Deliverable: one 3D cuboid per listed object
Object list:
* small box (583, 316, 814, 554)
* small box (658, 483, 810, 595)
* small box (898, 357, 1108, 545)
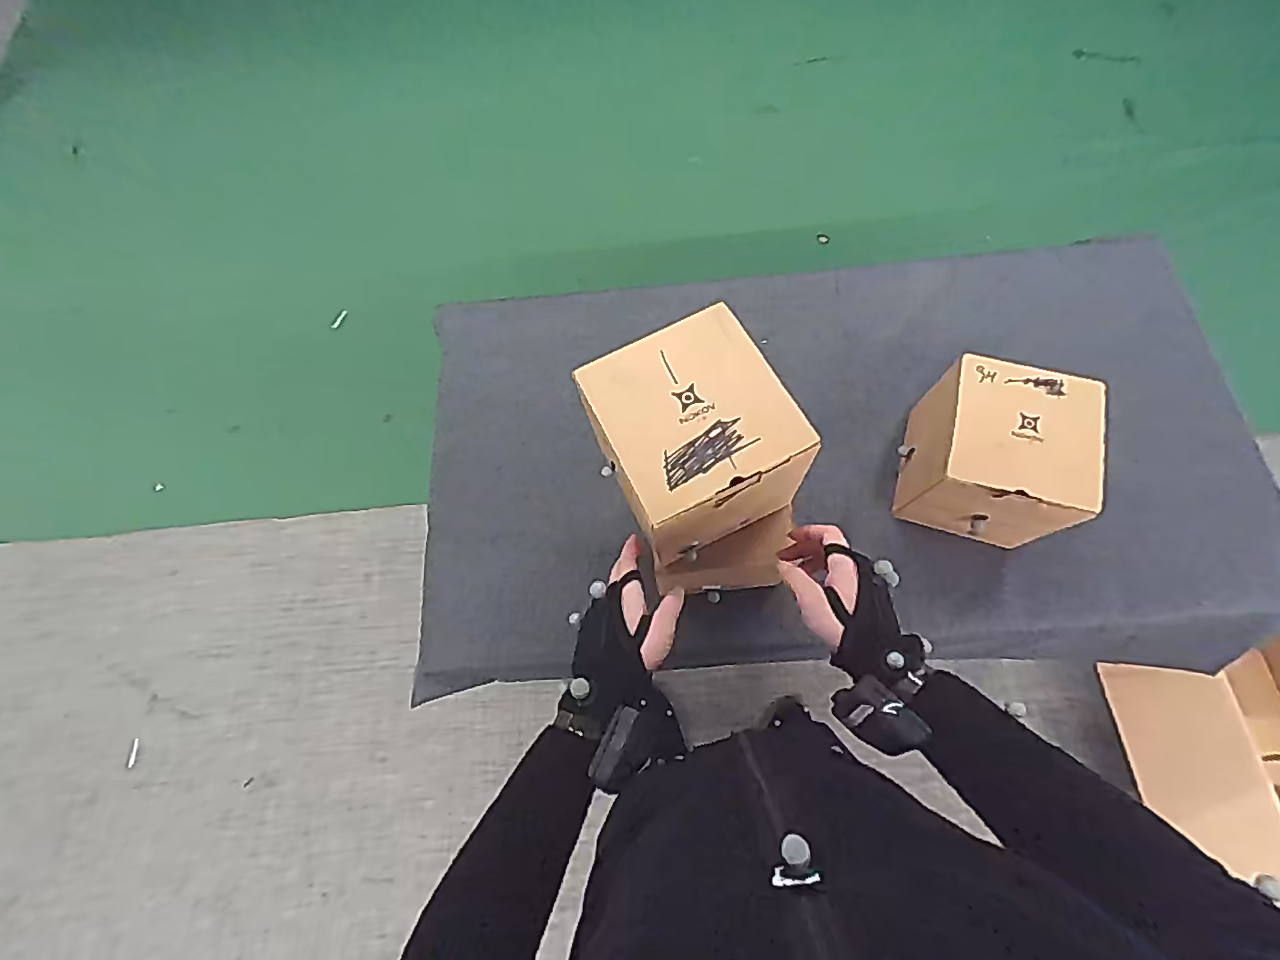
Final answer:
[{"bbox_3d":[0.058,-0.033,0.583,0.168,0.176,0.179,-25,68,-5],"label":"small box"},{"bbox_3d":[0.101,0.042,0.693,0.168,0.176,0.179,-7,70,2],"label":"small box"},{"bbox_3d":[0.461,-0.028,0.711,0.168,0.176,0.179,16,72,9],"label":"small box"}]
